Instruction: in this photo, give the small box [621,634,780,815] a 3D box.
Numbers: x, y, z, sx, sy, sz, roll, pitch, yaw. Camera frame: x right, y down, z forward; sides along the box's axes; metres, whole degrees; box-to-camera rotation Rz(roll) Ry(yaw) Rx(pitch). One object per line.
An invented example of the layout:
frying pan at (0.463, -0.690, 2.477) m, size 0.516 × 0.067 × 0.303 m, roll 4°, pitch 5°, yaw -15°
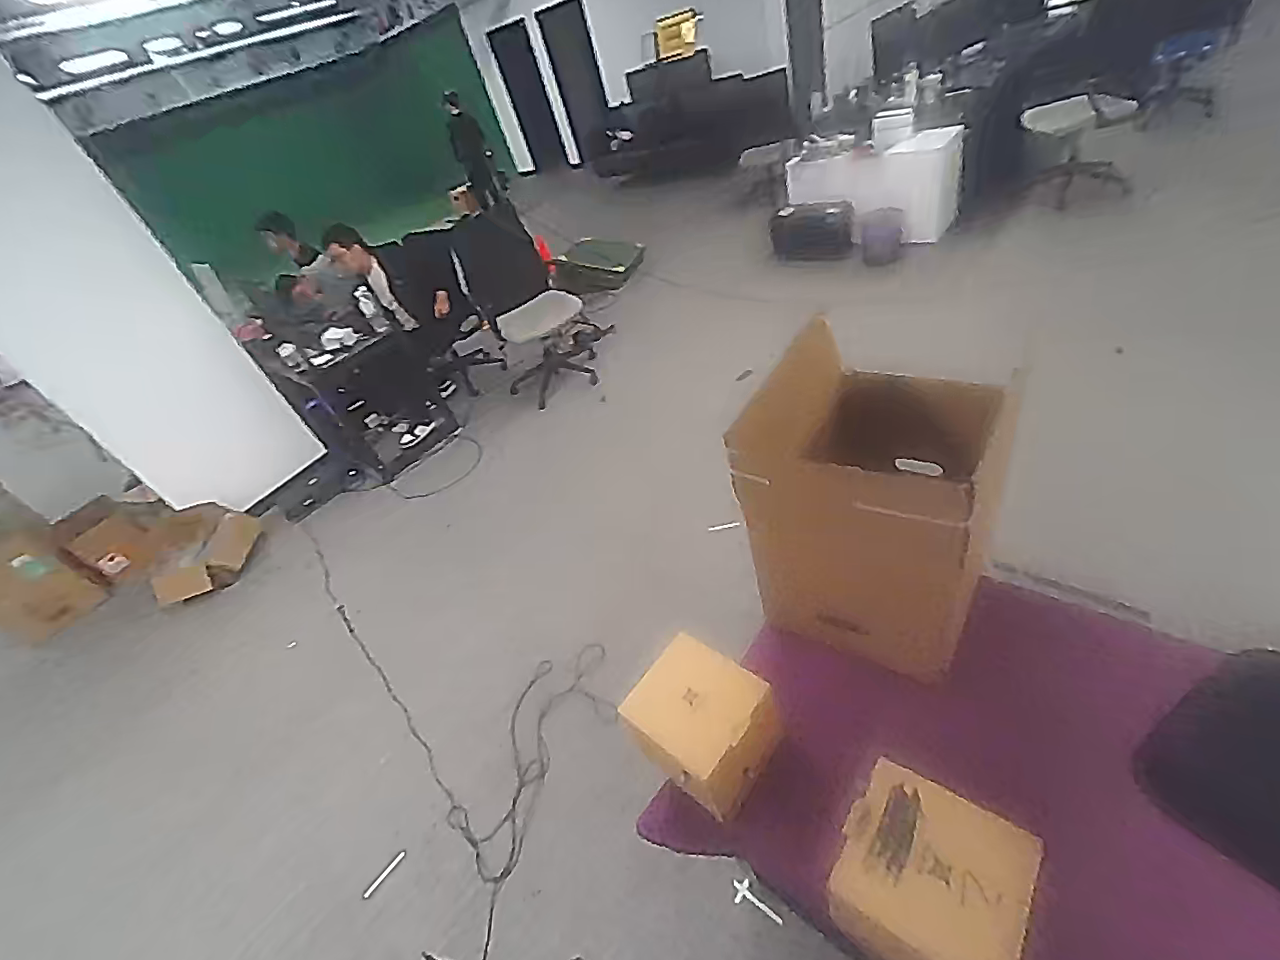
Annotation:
small box at (0.101, 0.386, 0.855) m, size 0.179 × 0.176 × 0.168 m, roll 22°, pitch 55°, yaw 38°
